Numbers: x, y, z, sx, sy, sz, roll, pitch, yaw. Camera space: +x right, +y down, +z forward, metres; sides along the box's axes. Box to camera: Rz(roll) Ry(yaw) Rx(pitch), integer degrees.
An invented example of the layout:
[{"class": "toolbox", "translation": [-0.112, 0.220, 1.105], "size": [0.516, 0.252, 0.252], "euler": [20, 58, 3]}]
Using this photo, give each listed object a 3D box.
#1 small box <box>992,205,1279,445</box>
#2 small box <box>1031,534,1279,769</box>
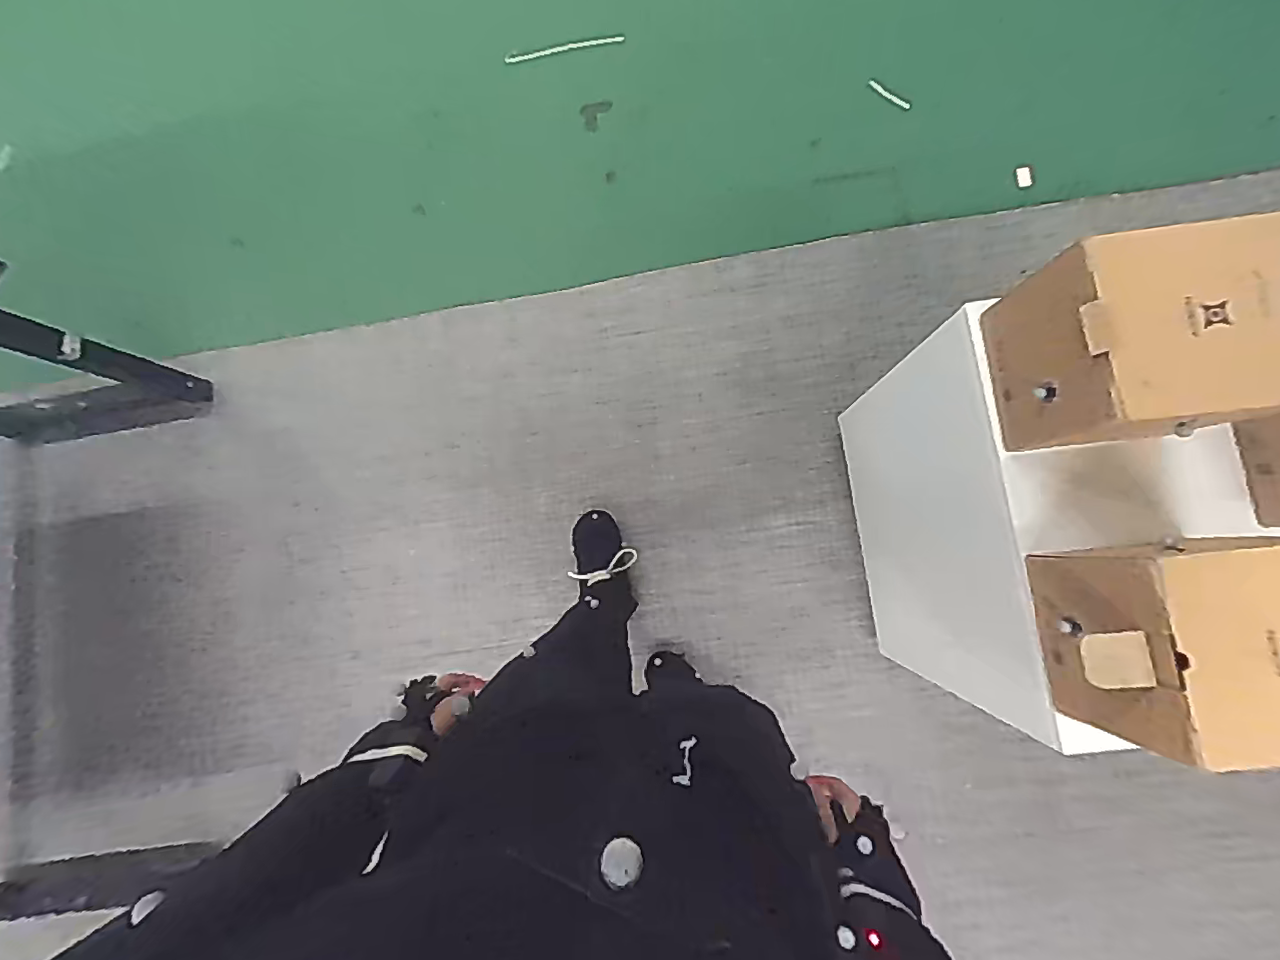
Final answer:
[{"class": "small box", "translation": [0.479, -0.134, 0.529], "size": [0.179, 0.176, 0.168], "euler": [-7, 84, 3]}, {"class": "small box", "translation": [0.509, 0.138, 0.492], "size": [0.179, 0.176, 0.168], "euler": [-7, 82, 4]}]
